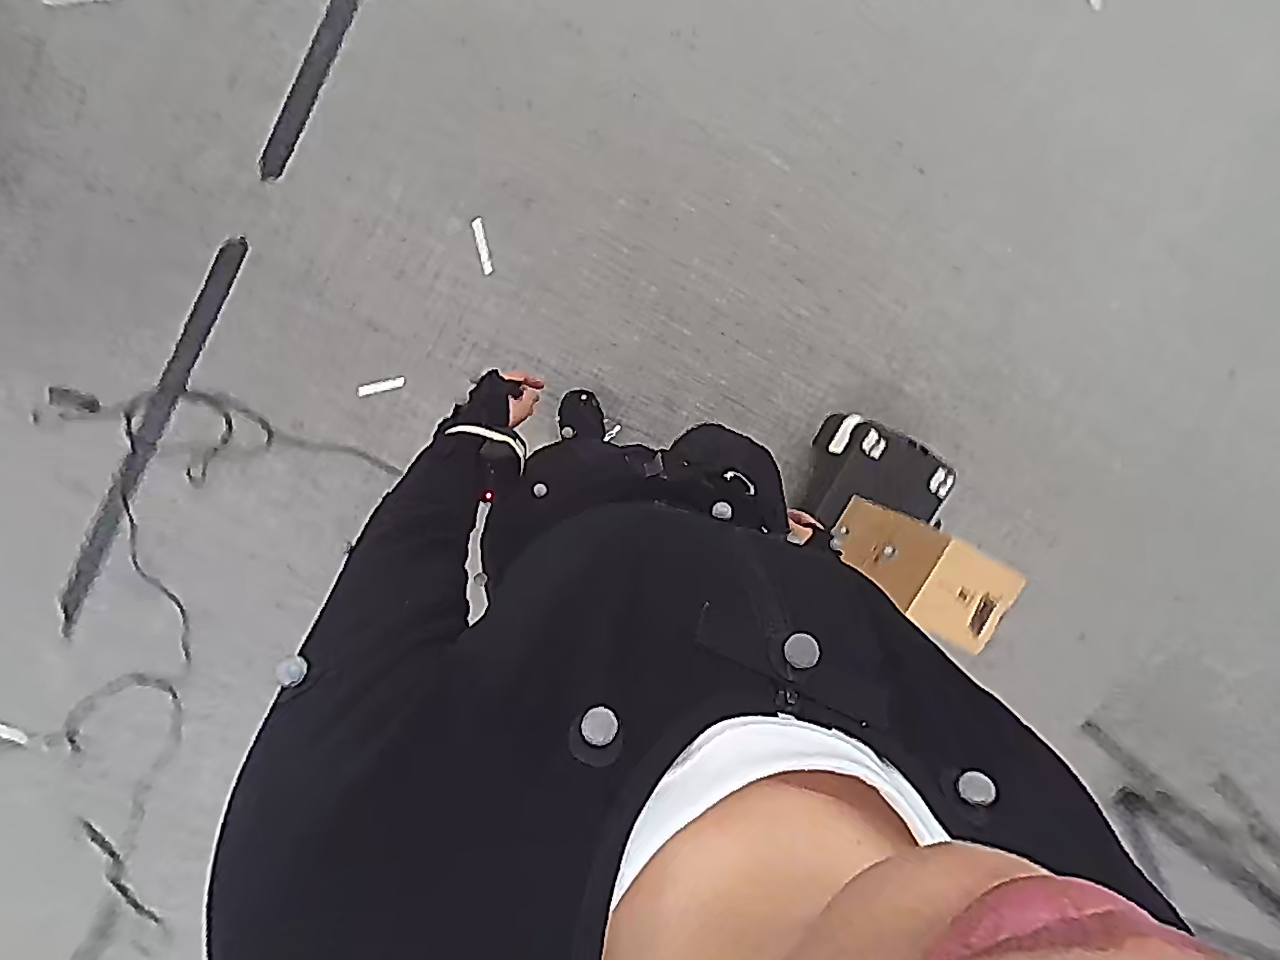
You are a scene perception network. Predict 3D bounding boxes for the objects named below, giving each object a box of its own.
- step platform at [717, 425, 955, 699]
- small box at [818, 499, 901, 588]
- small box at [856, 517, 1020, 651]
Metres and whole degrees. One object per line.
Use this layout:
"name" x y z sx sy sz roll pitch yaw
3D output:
"step platform" 0.486 0.209 1.377 0.286 0.204 0.684 27 95 -12
"small box" 0.534 0.160 1.197 0.179 0.176 0.168 29 95 -12
"small box" 0.560 0.189 1.037 0.179 0.176 0.168 29 95 -12
